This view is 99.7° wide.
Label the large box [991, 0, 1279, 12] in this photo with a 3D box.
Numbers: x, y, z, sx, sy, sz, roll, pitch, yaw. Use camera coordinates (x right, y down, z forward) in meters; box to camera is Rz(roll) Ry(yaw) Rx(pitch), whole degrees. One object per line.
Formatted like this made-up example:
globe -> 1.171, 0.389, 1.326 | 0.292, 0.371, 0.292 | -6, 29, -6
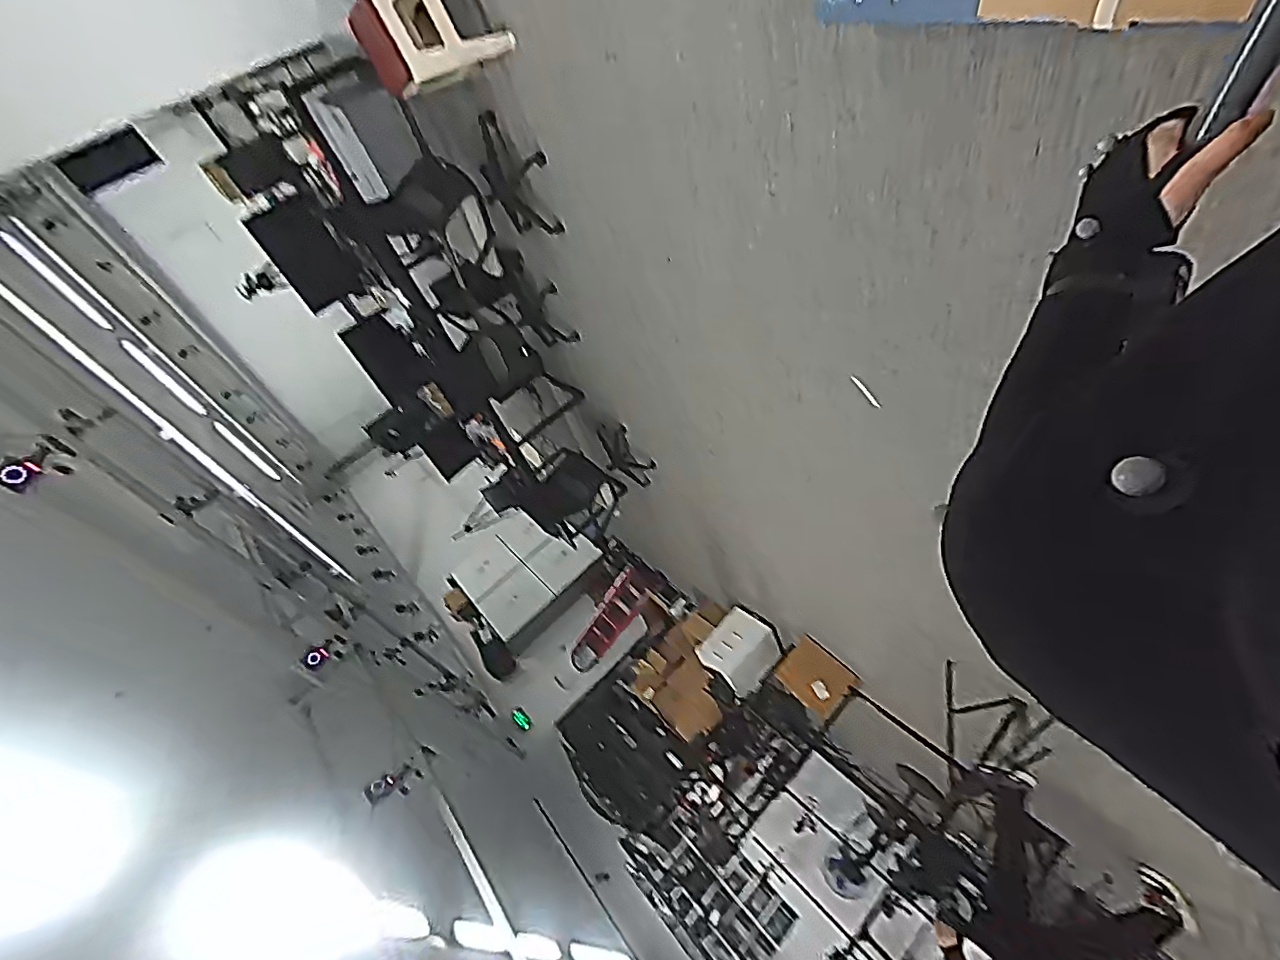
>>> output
large box -> 0.652, -0.793, 0.564 | 0.320, 0.320, 0.408 | 35, 157, 34
